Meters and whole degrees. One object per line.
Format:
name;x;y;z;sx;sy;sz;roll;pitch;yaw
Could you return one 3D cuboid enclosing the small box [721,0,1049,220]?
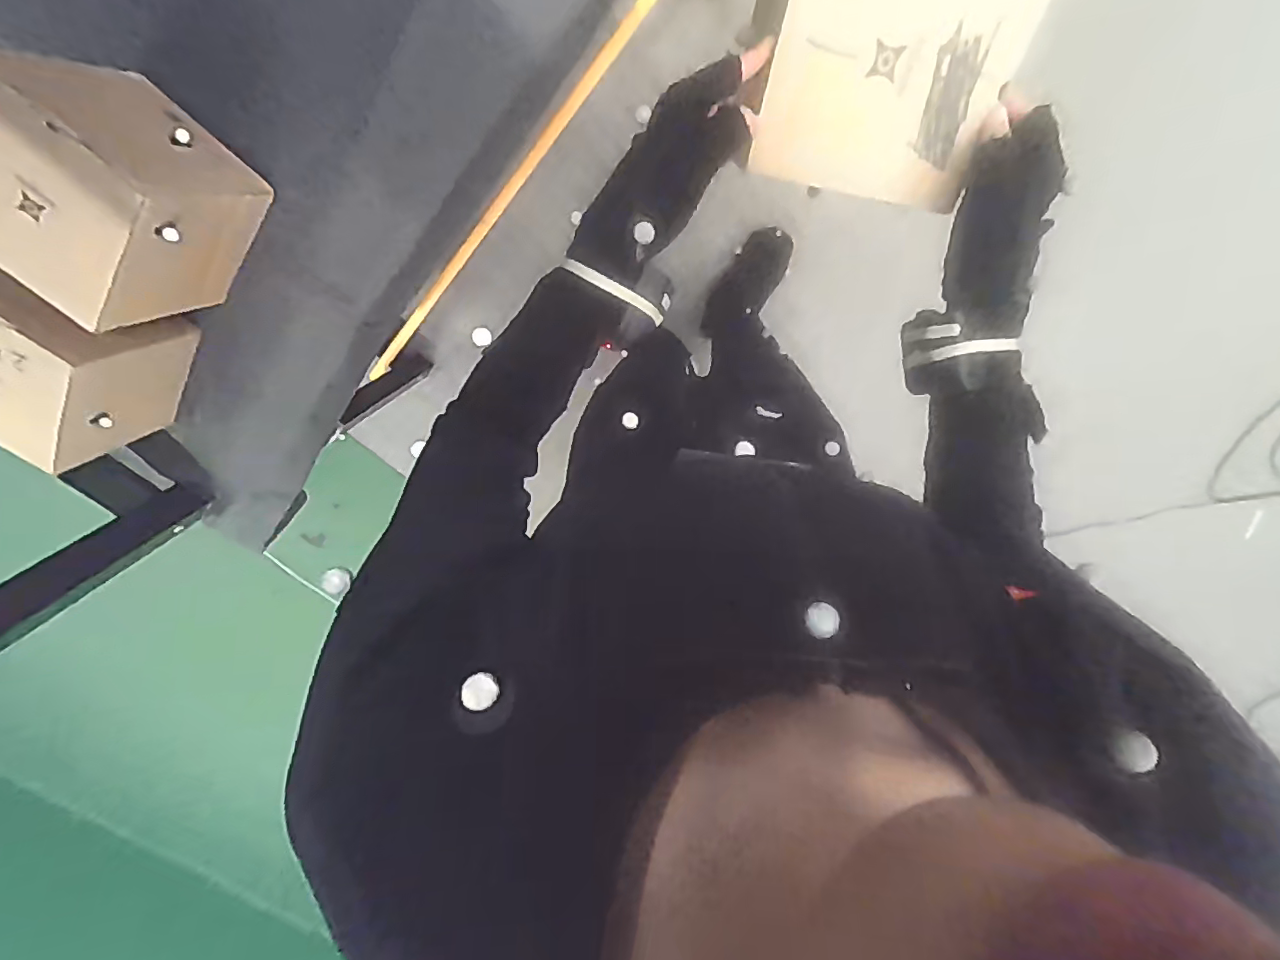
small box;0.175;-0.333;0.442;0.179;0.176;0.168;9;126;-4
